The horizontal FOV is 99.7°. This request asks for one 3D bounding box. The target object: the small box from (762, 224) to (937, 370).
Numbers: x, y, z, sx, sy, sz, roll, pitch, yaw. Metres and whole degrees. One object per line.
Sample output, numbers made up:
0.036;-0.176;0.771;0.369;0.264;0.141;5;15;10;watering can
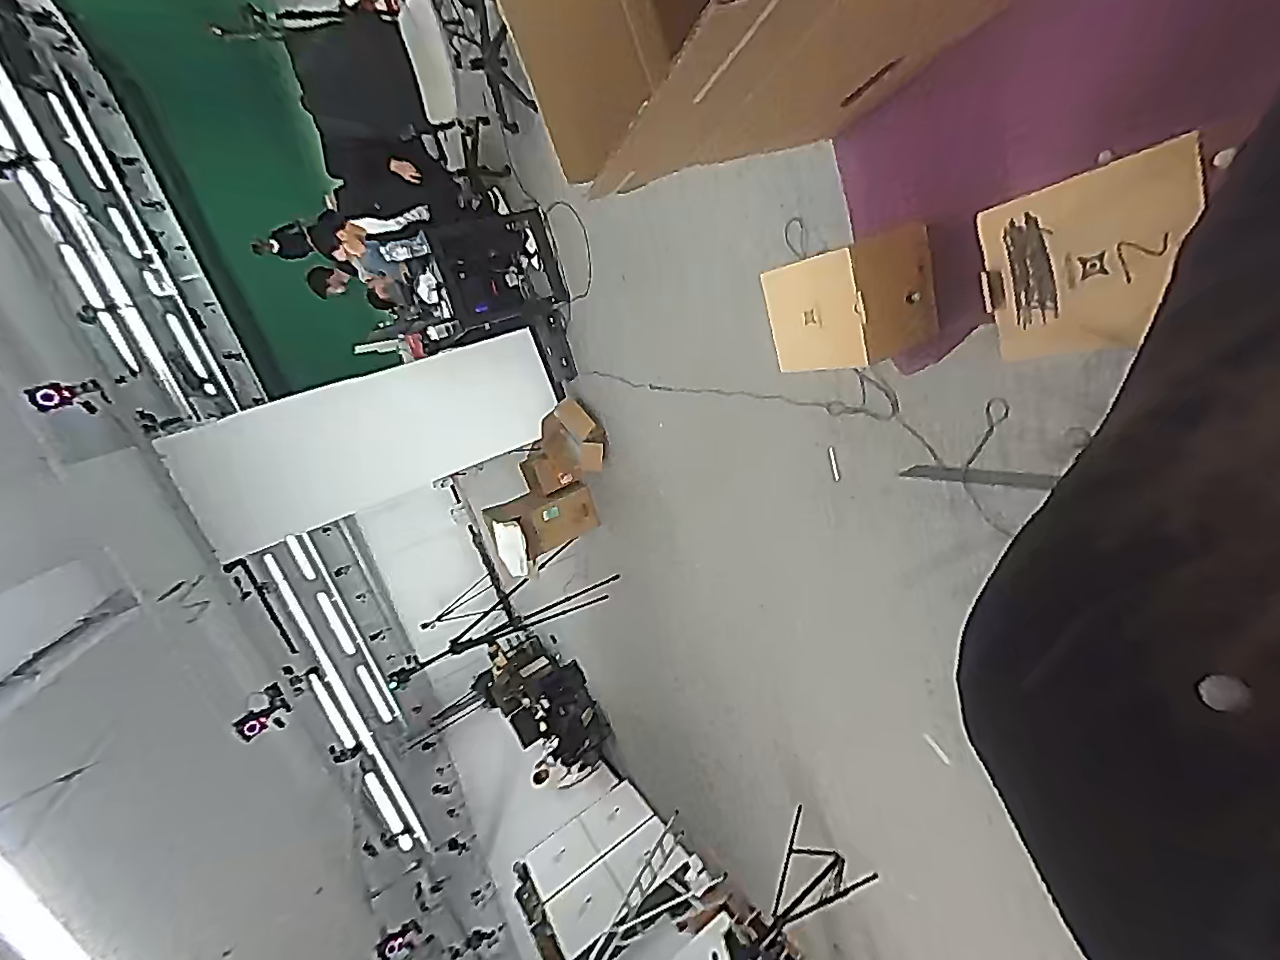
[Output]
0.324;-0.278;0.841;0.179;0.176;0.168;12;124;59;small box
